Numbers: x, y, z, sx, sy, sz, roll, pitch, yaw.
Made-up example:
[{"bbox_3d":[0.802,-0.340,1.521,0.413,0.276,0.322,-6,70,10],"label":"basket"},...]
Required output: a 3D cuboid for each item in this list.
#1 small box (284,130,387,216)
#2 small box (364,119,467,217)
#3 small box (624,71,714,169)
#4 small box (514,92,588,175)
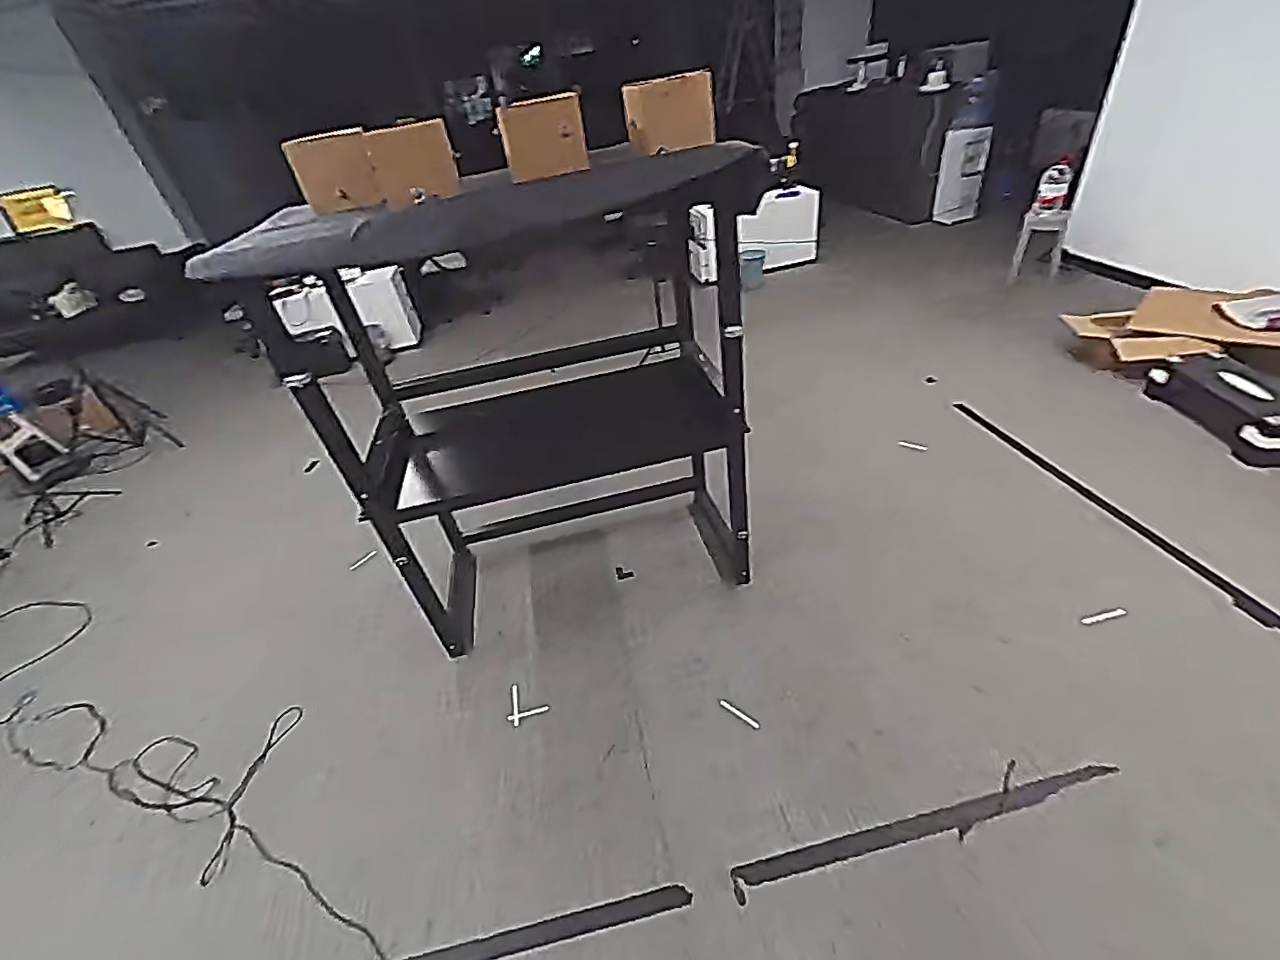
[{"bbox_3d":[-0.806,-0.827,1.455,0.179,0.176,0.168,-14,38,-7],"label":"small box"},{"bbox_3d":[-0.509,-0.720,1.249,0.168,0.176,0.179,-17,36,-8],"label":"small box"},{"bbox_3d":[0.070,-0.858,1.296,0.168,0.176,0.179,-15,36,-7],"label":"small box"},{"bbox_3d":[-0.249,-0.966,1.514,0.168,0.176,0.179,-14,37,-5],"label":"small box"}]
